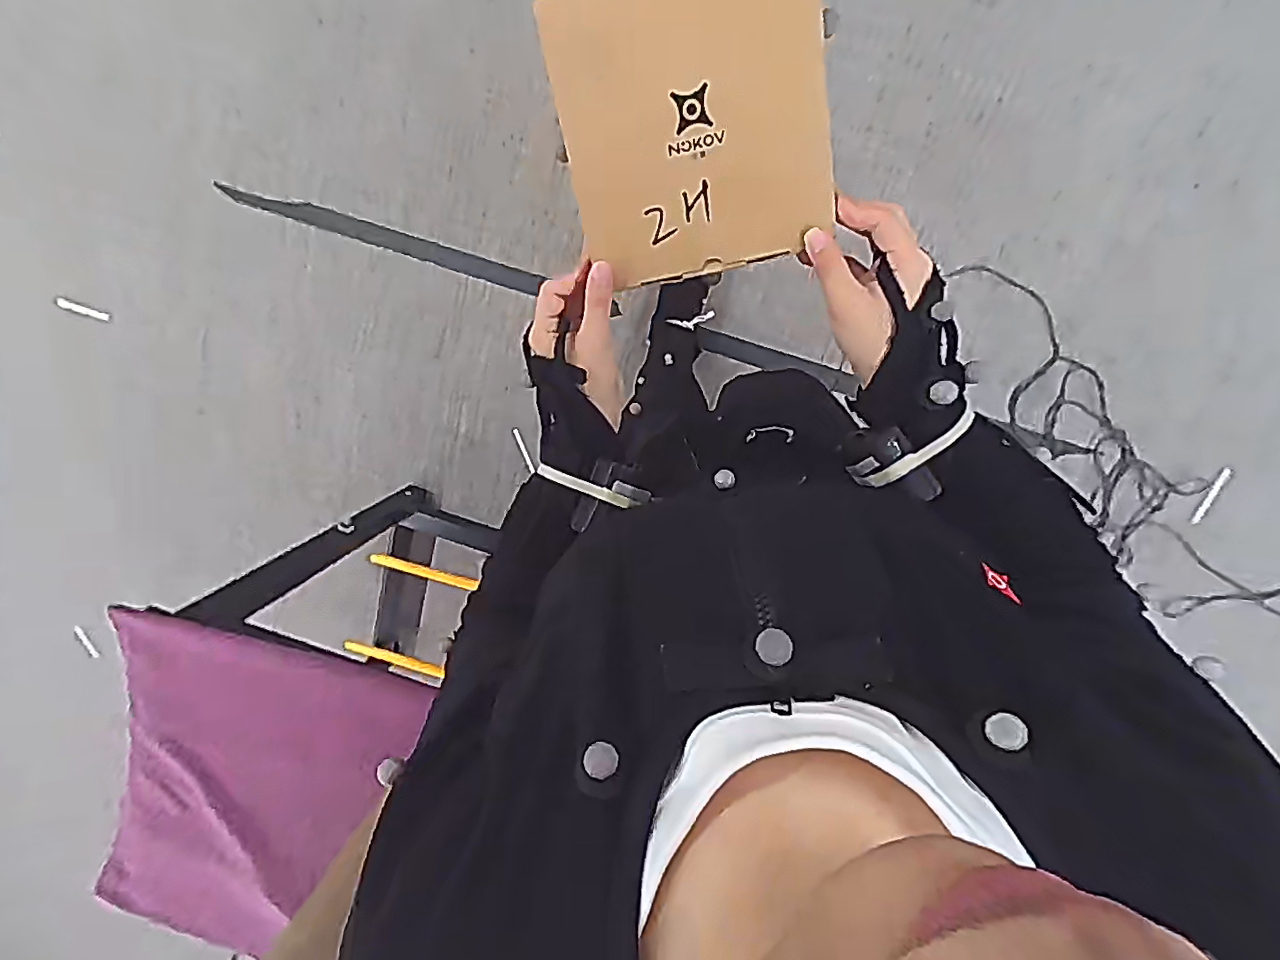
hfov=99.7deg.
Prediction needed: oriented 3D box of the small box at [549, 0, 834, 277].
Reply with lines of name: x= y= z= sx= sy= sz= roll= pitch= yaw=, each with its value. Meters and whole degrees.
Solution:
small box: x=0.044 y=-0.264 z=0.415 sx=0.168 sy=0.176 sz=0.179 roll=-7 pitch=114 yaw=10
